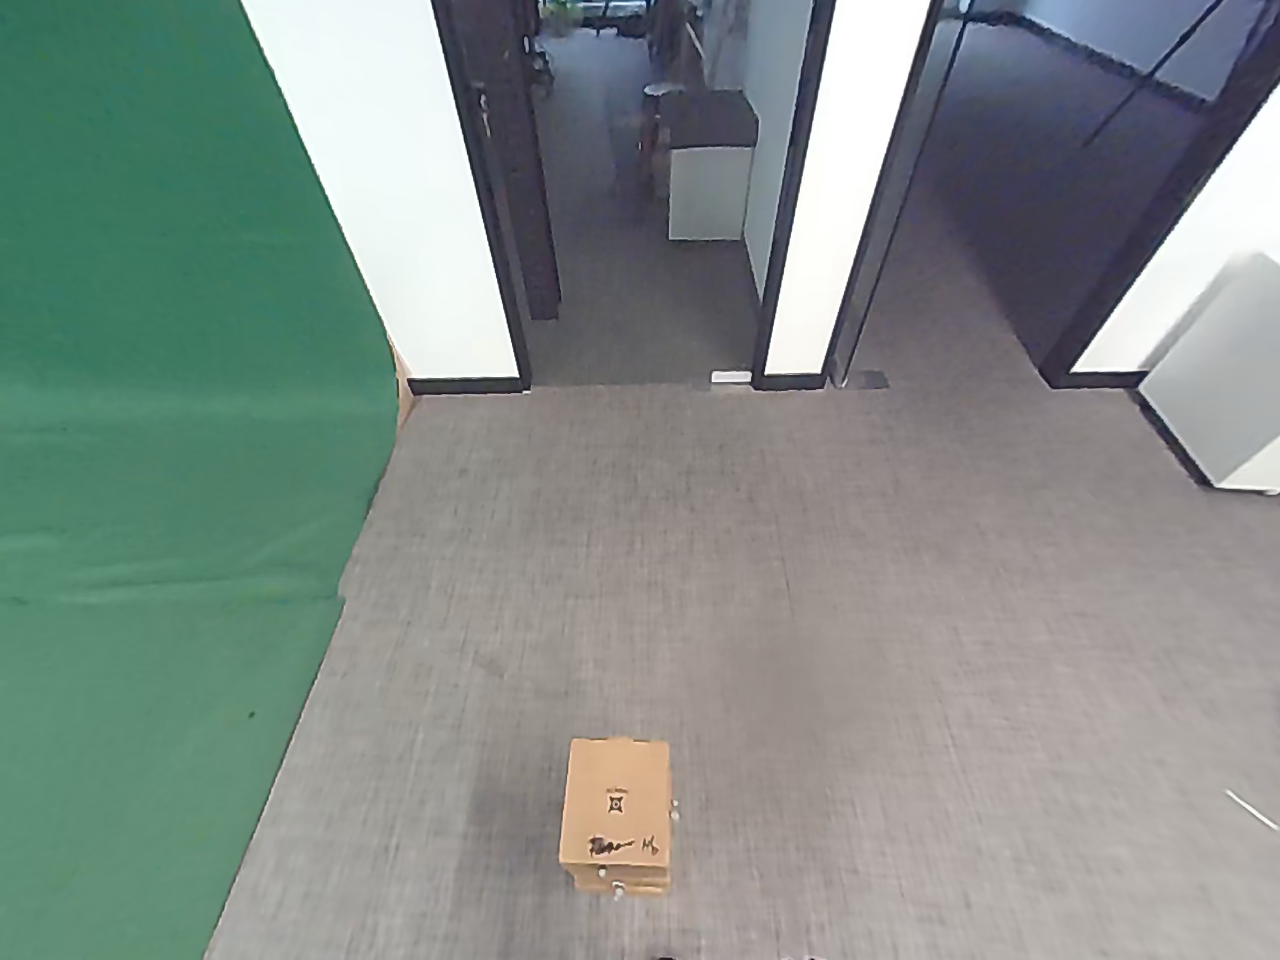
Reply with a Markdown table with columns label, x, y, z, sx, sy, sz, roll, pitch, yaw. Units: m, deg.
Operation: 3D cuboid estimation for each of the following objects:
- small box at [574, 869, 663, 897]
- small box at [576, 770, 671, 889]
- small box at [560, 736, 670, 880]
| label | x | y | z | sx | sy | sz | roll | pitch | yaw |
| --- | --- | --- | --- | --- | --- | --- | --- | --- | --- |
| small box | -0.036 | 0.778 | 1.153 | 0.179 | 0.176 | 0.168 | 1 | 49 | 3 |
| small box | -0.024 | 0.666 | 1.037 | 0.168 | 0.176 | 0.179 | 0 | 50 | 3 |
| small box | -0.034 | 0.555 | 0.916 | 0.168 | 0.176 | 0.179 | 0 | 48 | 3 |
